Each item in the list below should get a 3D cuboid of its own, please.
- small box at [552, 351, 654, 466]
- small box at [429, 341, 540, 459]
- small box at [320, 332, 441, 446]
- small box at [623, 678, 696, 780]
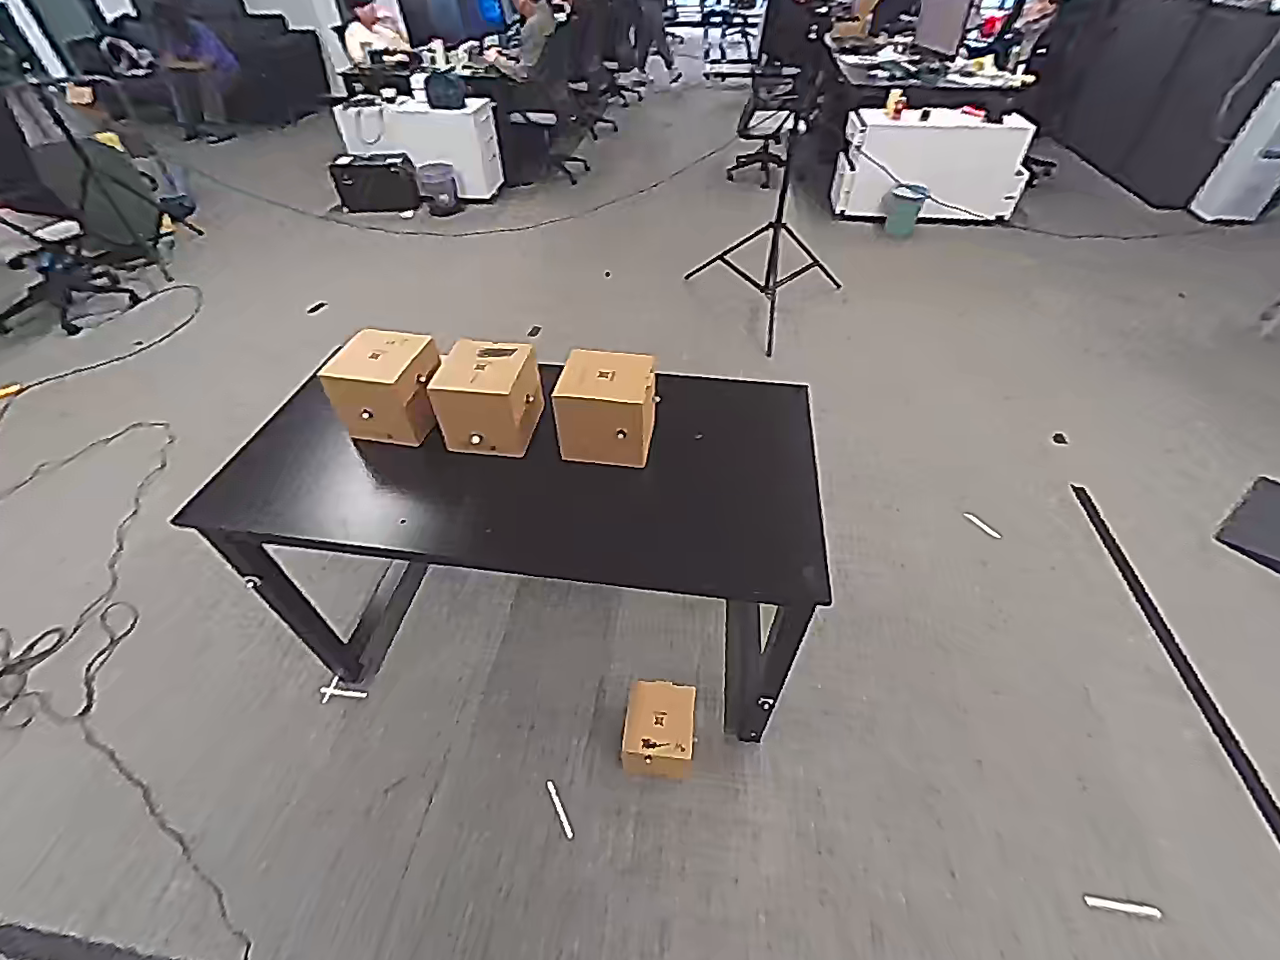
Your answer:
[{"bbox_3d":[-0.067,-0.144,1.114,0.179,0.176,0.168,5,45,7],"label":"small box"},{"bbox_3d":[-0.313,-0.169,1.137,0.168,0.176,0.179,5,47,5],"label":"small box"},{"bbox_3d":[-0.535,-0.195,1.165,0.168,0.176,0.179,8,46,8],"label":"small box"},{"bbox_3d":[0.051,0.632,1.371,0.168,0.176,0.179,4,46,6],"label":"small box"}]
